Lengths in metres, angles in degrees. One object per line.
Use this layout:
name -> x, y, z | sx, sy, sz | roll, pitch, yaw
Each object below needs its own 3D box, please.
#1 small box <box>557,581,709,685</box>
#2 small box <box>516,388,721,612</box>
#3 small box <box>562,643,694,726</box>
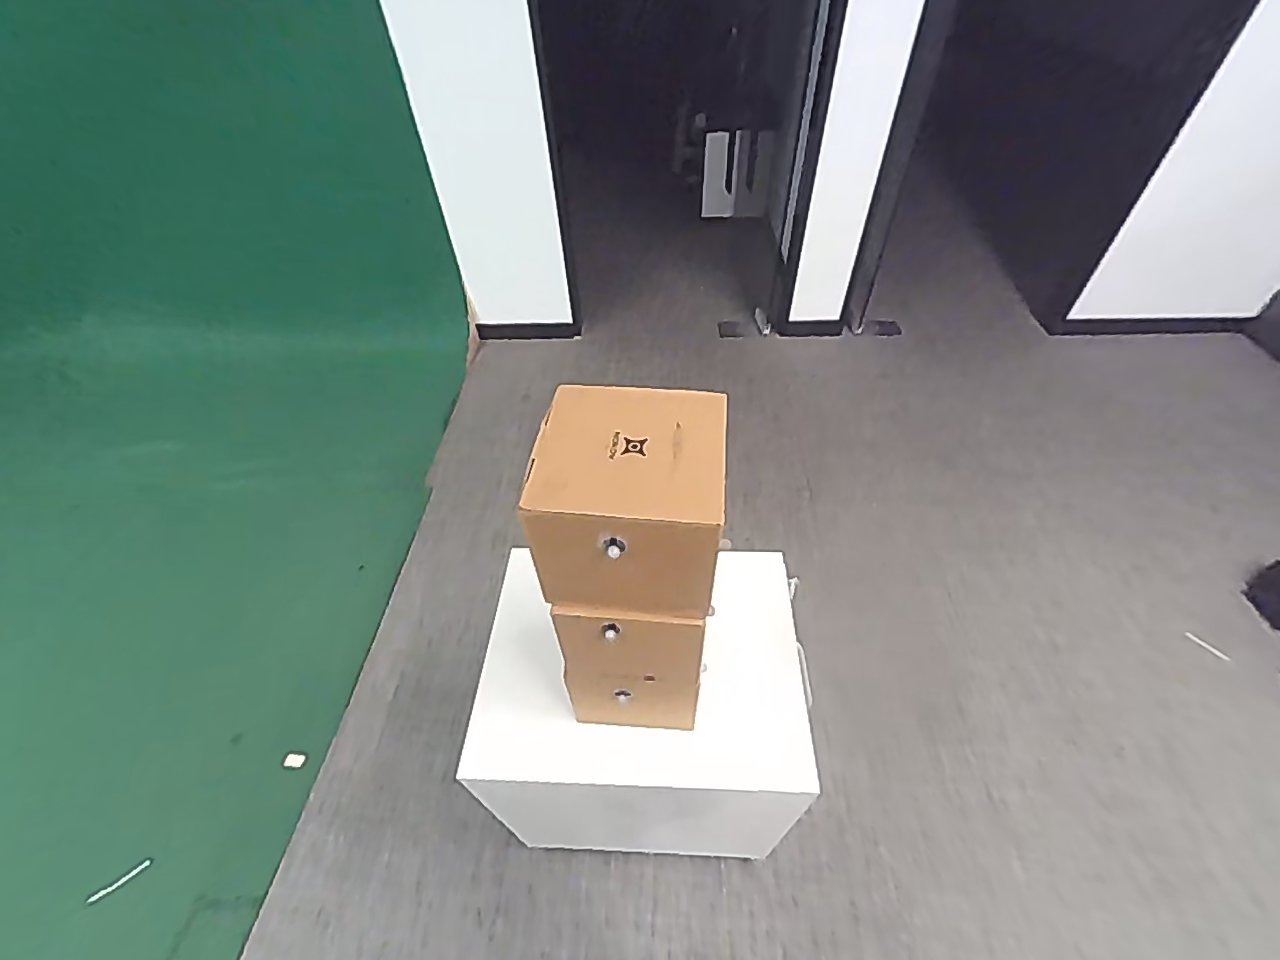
small box -> -0.004, 0.138, 0.686 | 0.168, 0.176, 0.179 | 2, 48, 2
small box -> -0.010, 0.023, 0.568 | 0.179, 0.176, 0.168 | 4, 50, 5
small box -> -0.007, 0.250, 0.802 | 0.179, 0.176, 0.168 | 3, 47, 4
